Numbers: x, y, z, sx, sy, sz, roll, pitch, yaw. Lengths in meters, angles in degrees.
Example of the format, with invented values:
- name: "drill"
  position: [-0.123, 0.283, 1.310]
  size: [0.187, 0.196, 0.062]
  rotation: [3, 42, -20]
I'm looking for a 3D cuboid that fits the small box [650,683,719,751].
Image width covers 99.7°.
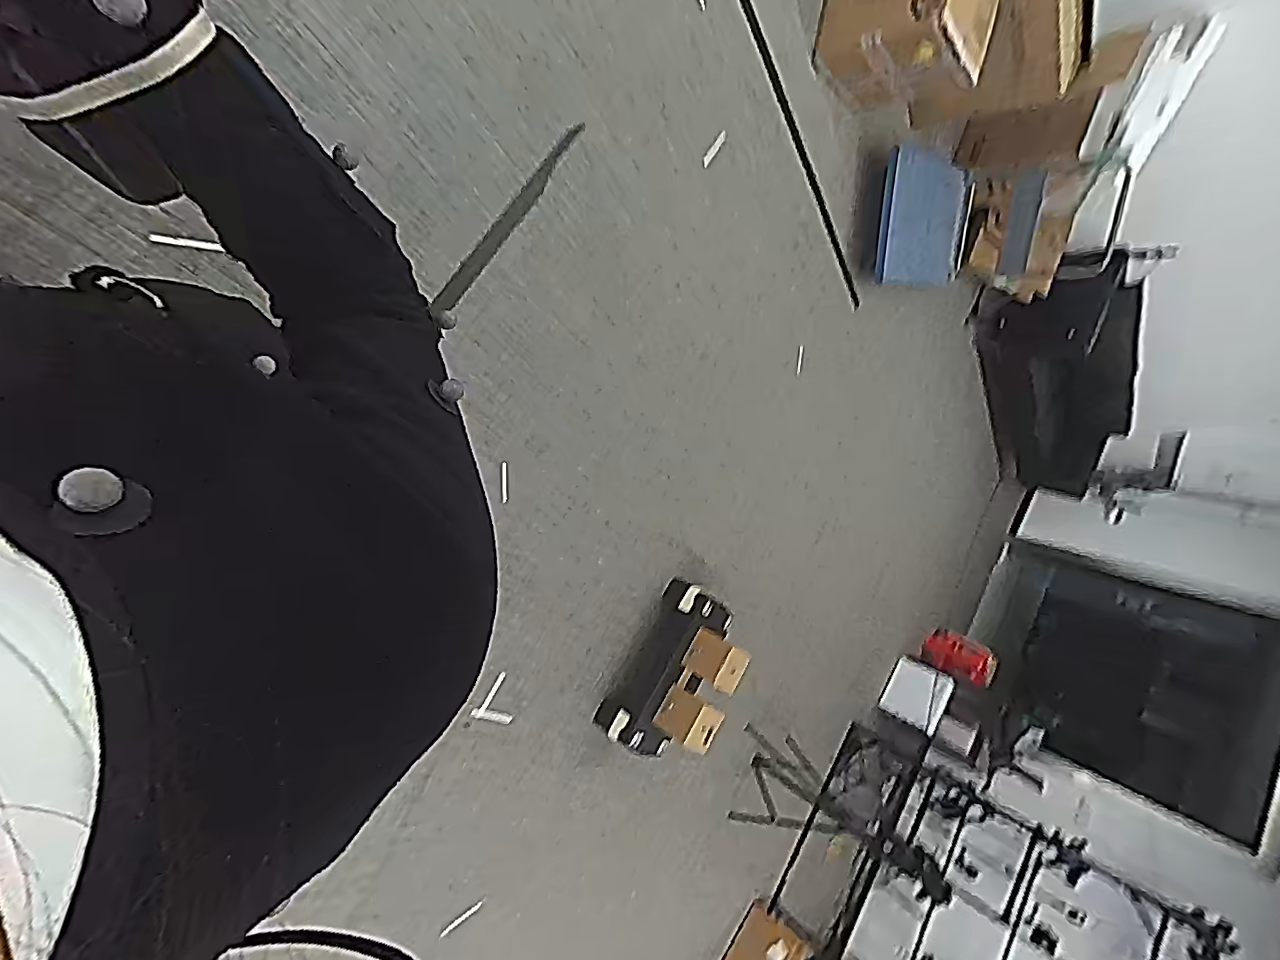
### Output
- name: "small box"
  position: [0.169, 0.915, 2.096]
  size: [0.179, 0.176, 0.168]
  rotation: [46, 70, -42]

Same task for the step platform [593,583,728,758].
- name: "step platform"
  position: [0.105, 0.788, 2.241]
  size: [0.286, 0.204, 0.684]
  rotation: [43, 72, -44]

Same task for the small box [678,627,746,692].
- name: "small box"
  position: [0.282, 0.705, 2.136]
  size: [0.179, 0.176, 0.168]
  rotation: [44, 71, -43]
